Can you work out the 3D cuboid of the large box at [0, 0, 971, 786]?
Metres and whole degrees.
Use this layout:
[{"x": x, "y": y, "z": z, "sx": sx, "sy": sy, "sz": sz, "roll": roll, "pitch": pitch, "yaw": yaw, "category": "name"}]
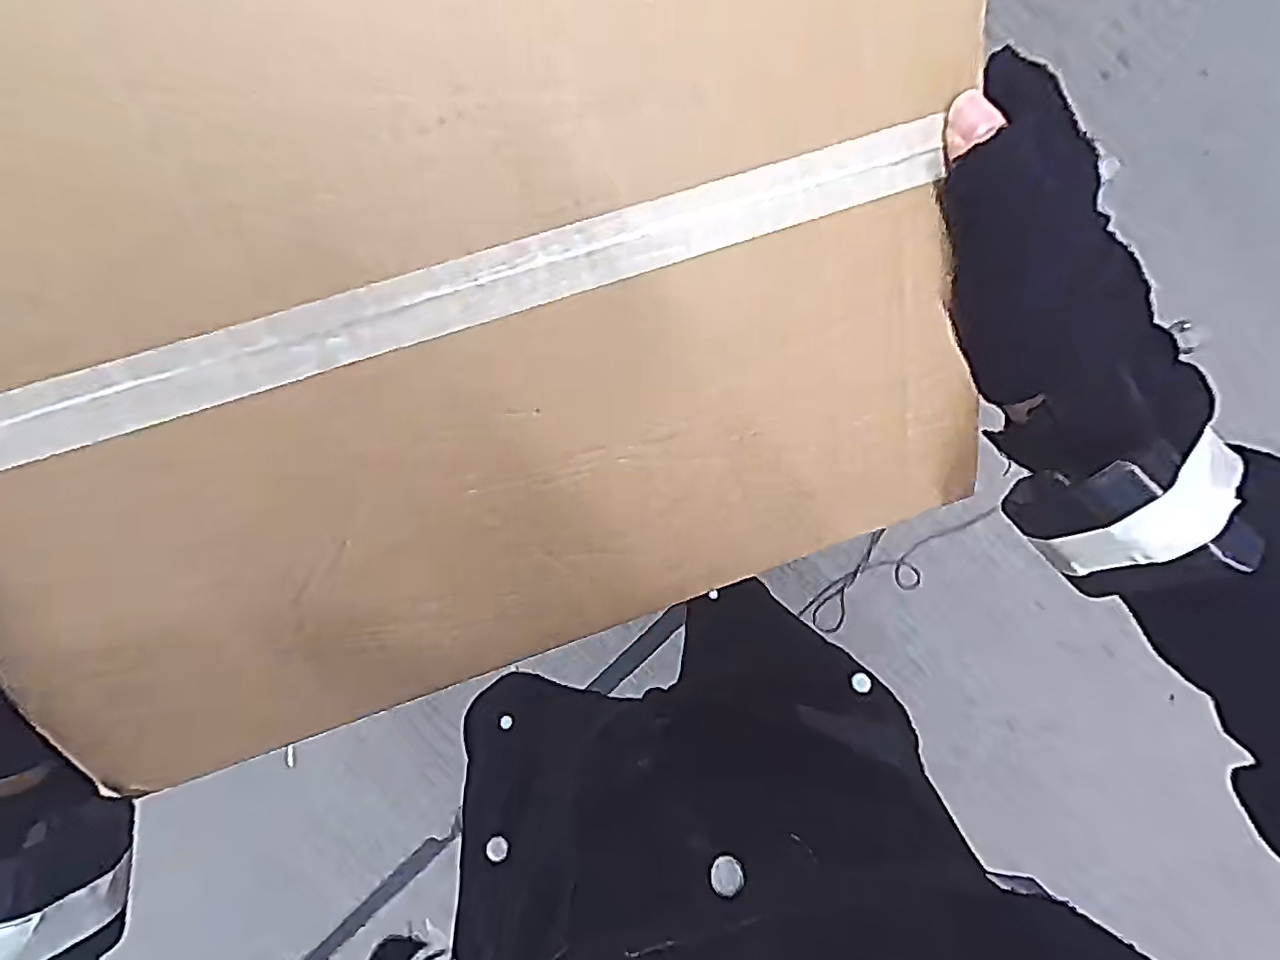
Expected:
[{"x": -0.094, "y": -0.114, "z": 0.325, "sx": 0.408, "sy": 0.320, "sz": 0.320, "roll": -18, "pitch": 117, "yaw": -5, "category": "large box"}]
